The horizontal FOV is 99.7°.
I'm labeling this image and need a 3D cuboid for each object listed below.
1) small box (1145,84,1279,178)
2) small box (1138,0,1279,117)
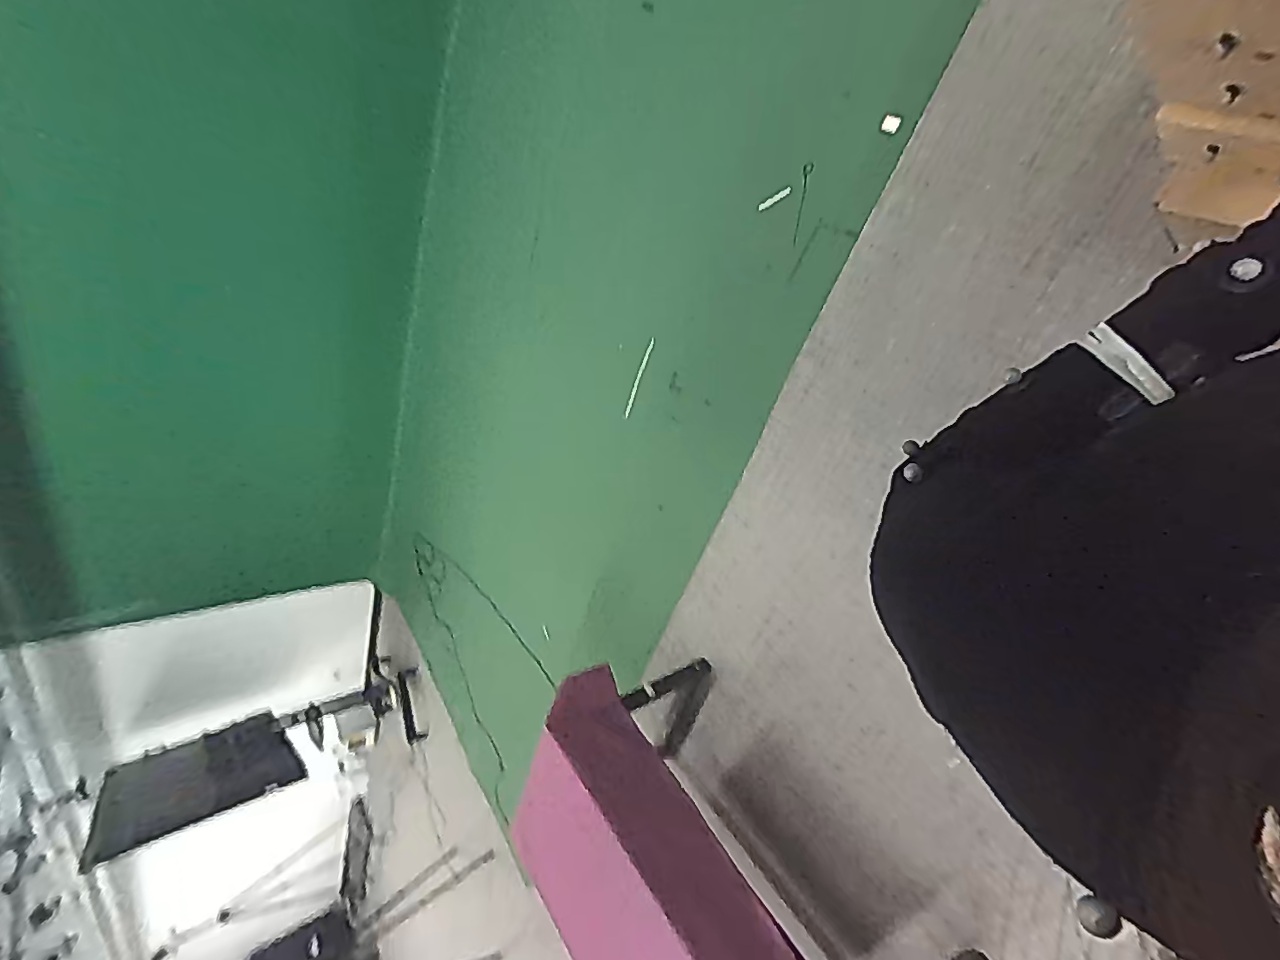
[{"bbox_3d":[0.745,-0.473,0.620,0.168,0.176,0.179,44,125,34],"label":"small box"},{"bbox_3d":[0.629,-0.469,0.502,0.168,0.176,0.179,46,126,32],"label":"small box"}]
